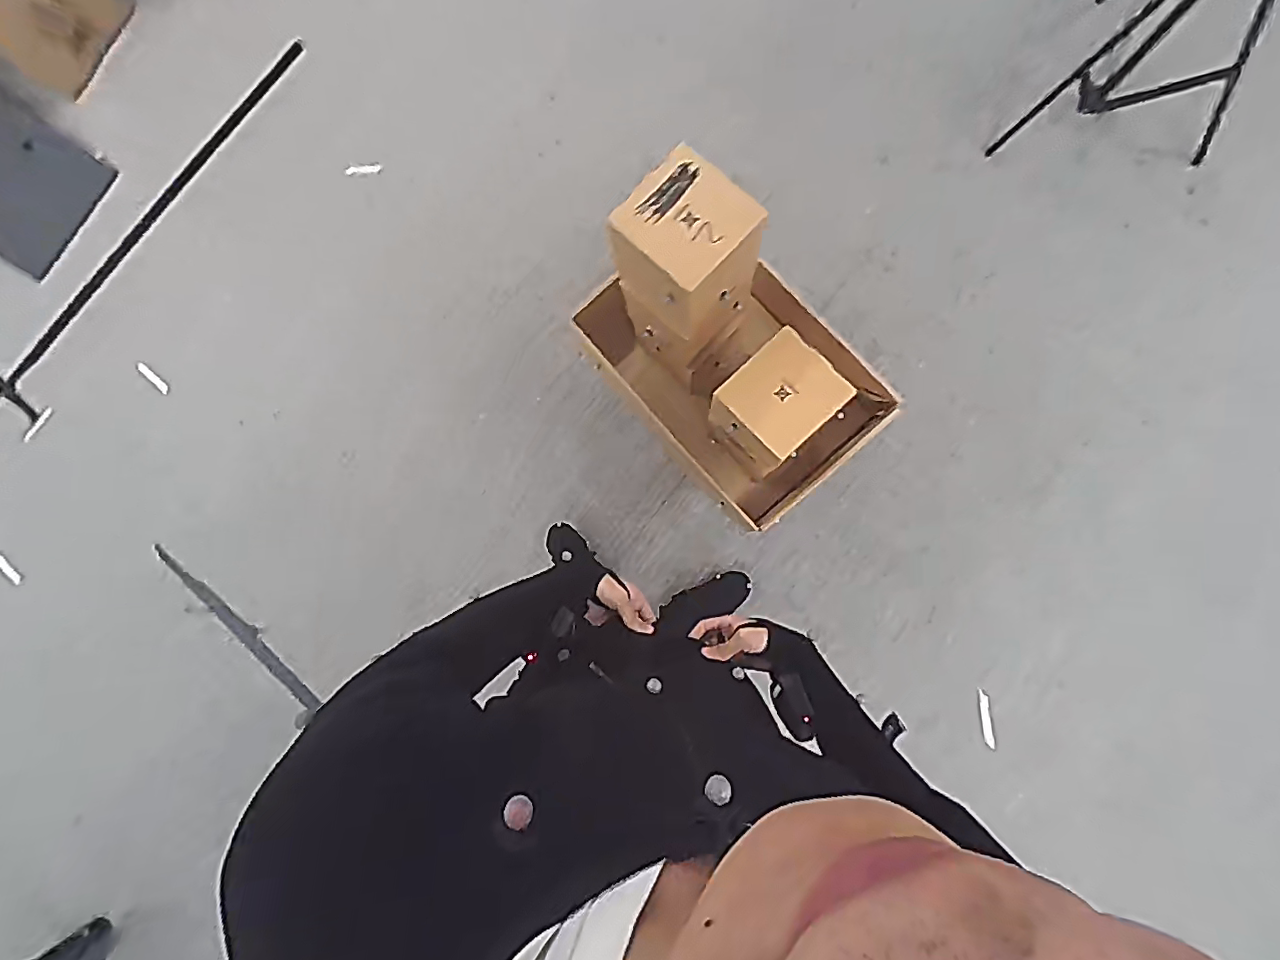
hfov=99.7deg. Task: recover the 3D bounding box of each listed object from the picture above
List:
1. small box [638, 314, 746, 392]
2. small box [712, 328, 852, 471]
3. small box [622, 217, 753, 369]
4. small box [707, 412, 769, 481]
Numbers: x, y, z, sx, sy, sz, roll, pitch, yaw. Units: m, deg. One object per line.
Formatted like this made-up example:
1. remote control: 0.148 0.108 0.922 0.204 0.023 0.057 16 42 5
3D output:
1. small box: 0.106 -0.319 1.186 0.168 0.176 0.179 -44 83 -1
2. small box: 0.248 -0.135 0.989 0.179 0.176 0.168 -43 82 -2
3. small box: 0.087 -0.345 1.025 0.168 0.176 0.179 43 88 8
4. small box: 0.259 -0.116 1.151 0.179 0.176 0.168 -44 82 -1
